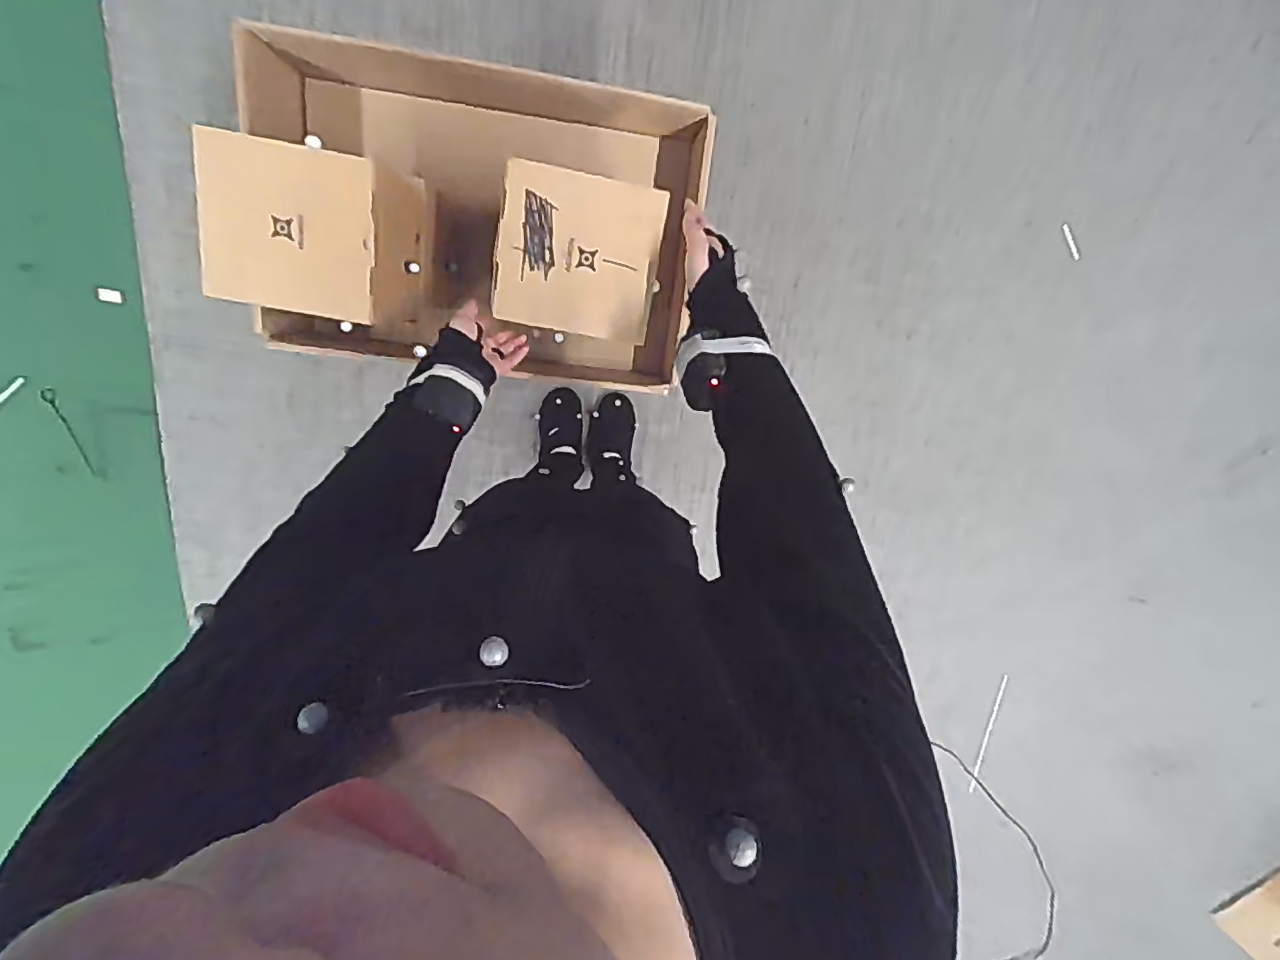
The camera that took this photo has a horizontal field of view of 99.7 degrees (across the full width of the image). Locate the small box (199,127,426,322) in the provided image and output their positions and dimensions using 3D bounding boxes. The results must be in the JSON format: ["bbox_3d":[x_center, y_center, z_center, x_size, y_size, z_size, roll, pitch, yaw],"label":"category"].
[{"bbox_3d":[-0.374,-0.285,0.644,0.179,0.176,0.168,8,106,-8],"label":"small box"}]

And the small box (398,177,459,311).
[{"bbox_3d":[-0.381,-0.346,0.795,0.179,0.176,0.168,8,106,-7],"label":"small box"}]

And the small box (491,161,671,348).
[{"bbox_3d":[-0.072,-0.263,0.667,0.179,0.176,0.168,9,105,-8],"label":"small box"}]
